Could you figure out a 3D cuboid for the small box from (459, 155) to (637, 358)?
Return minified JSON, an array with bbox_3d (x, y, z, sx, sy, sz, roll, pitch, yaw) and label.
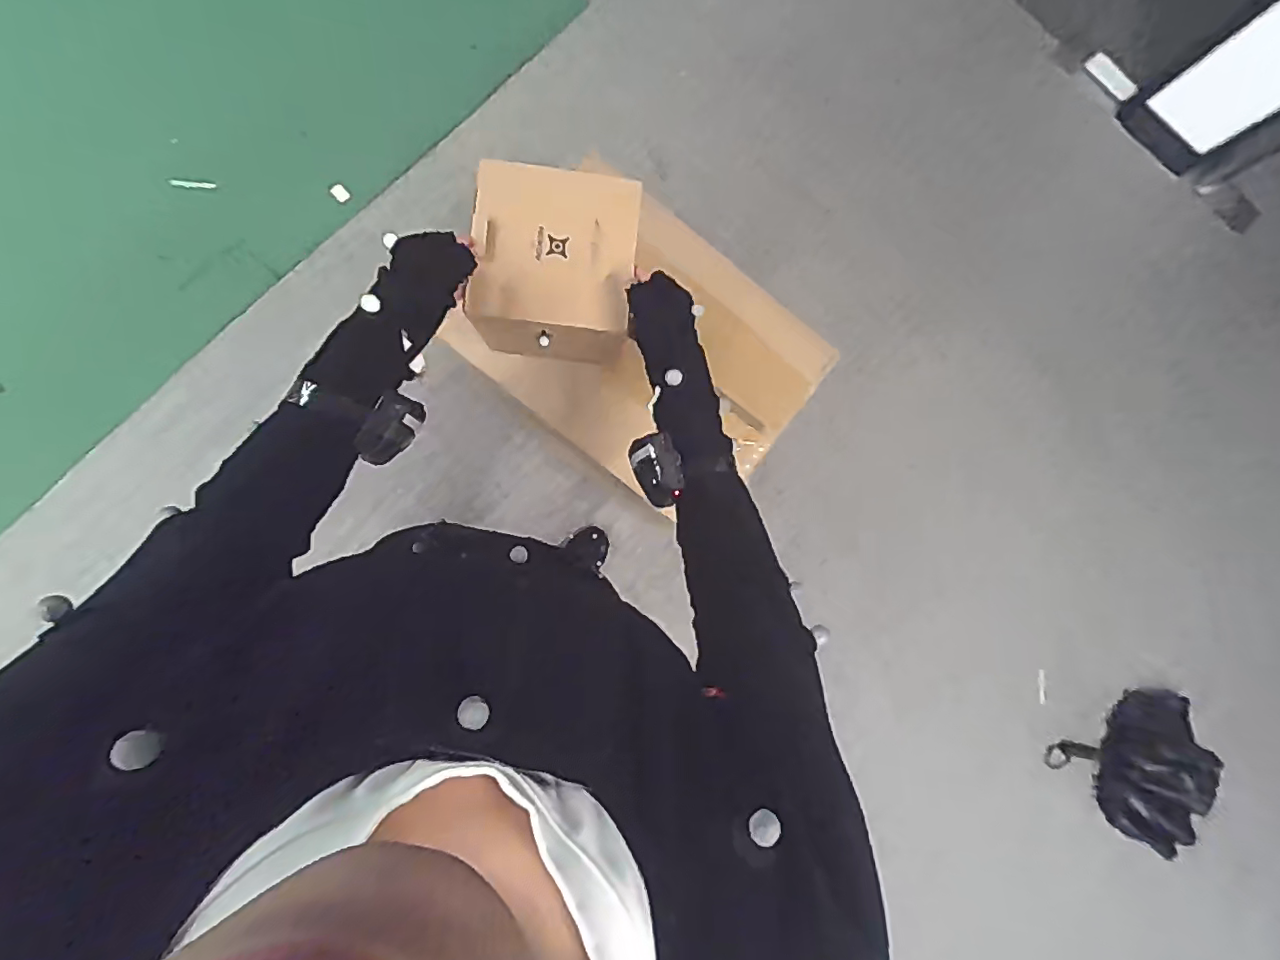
[{"bbox_3d":[-0.103,-0.250,0.647,0.179,0.176,0.168,4,89,-6],"label":"small box"}]
